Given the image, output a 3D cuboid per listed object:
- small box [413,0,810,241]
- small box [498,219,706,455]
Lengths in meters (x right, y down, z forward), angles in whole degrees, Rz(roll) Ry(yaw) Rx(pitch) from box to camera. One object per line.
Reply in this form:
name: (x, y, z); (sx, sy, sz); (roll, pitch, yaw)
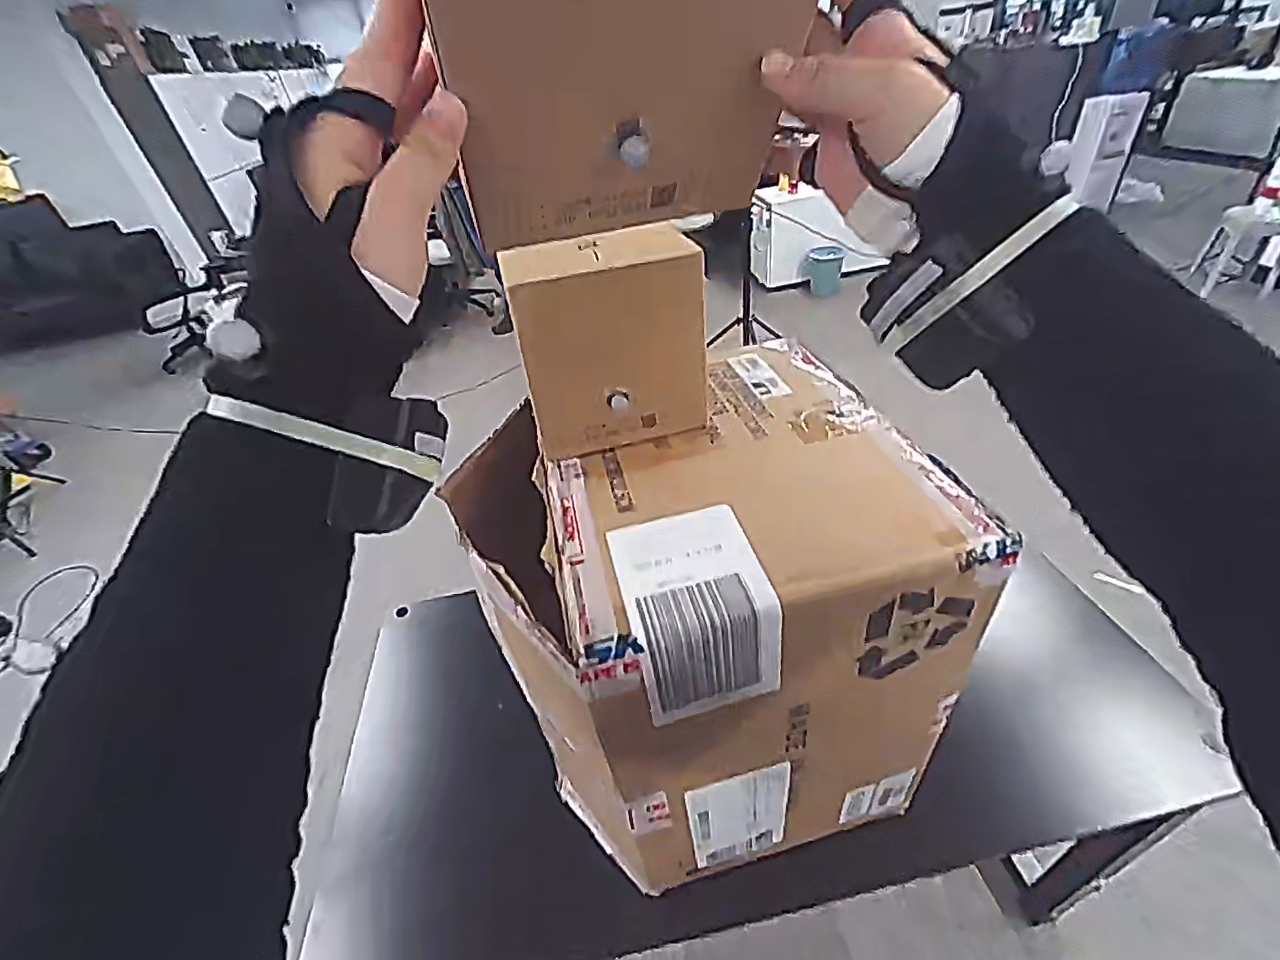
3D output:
small box: (-0.030, -0.256, 0.271); (0.168, 0.176, 0.179); (-15, 70, -11)
small box: (-0.039, -0.148, 0.541); (0.168, 0.176, 0.179); (-14, 37, -8)
